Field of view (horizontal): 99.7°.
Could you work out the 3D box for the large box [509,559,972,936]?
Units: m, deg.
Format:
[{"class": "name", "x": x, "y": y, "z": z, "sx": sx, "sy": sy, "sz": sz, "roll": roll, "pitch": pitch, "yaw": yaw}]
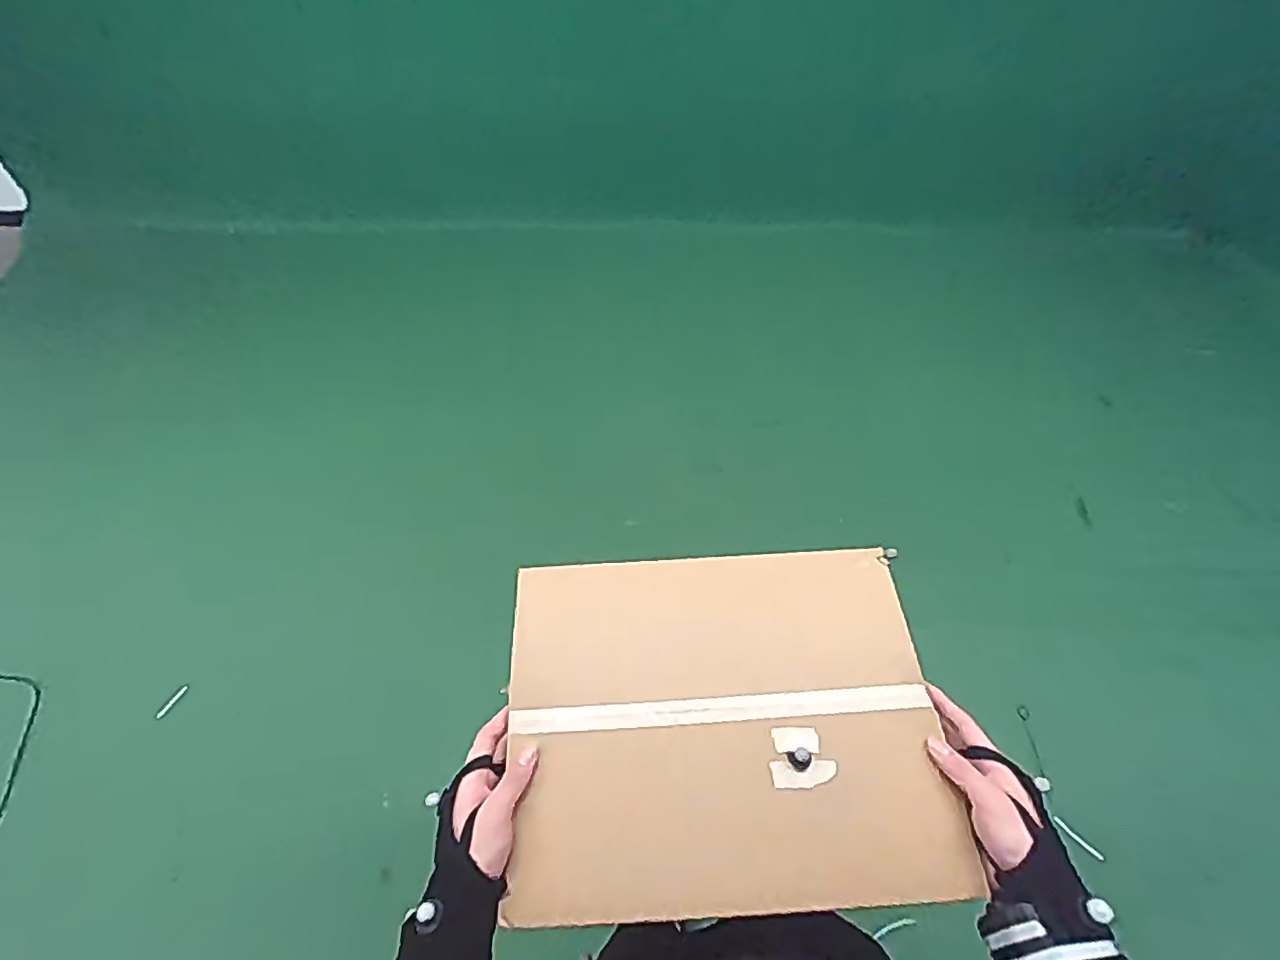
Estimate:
[{"class": "large box", "x": 0.078, "y": 0.311, "z": 0.656, "sx": 0.408, "sy": 0.320, "sz": 0.320, "roll": -3, "pitch": 59, "yaw": -1}]
